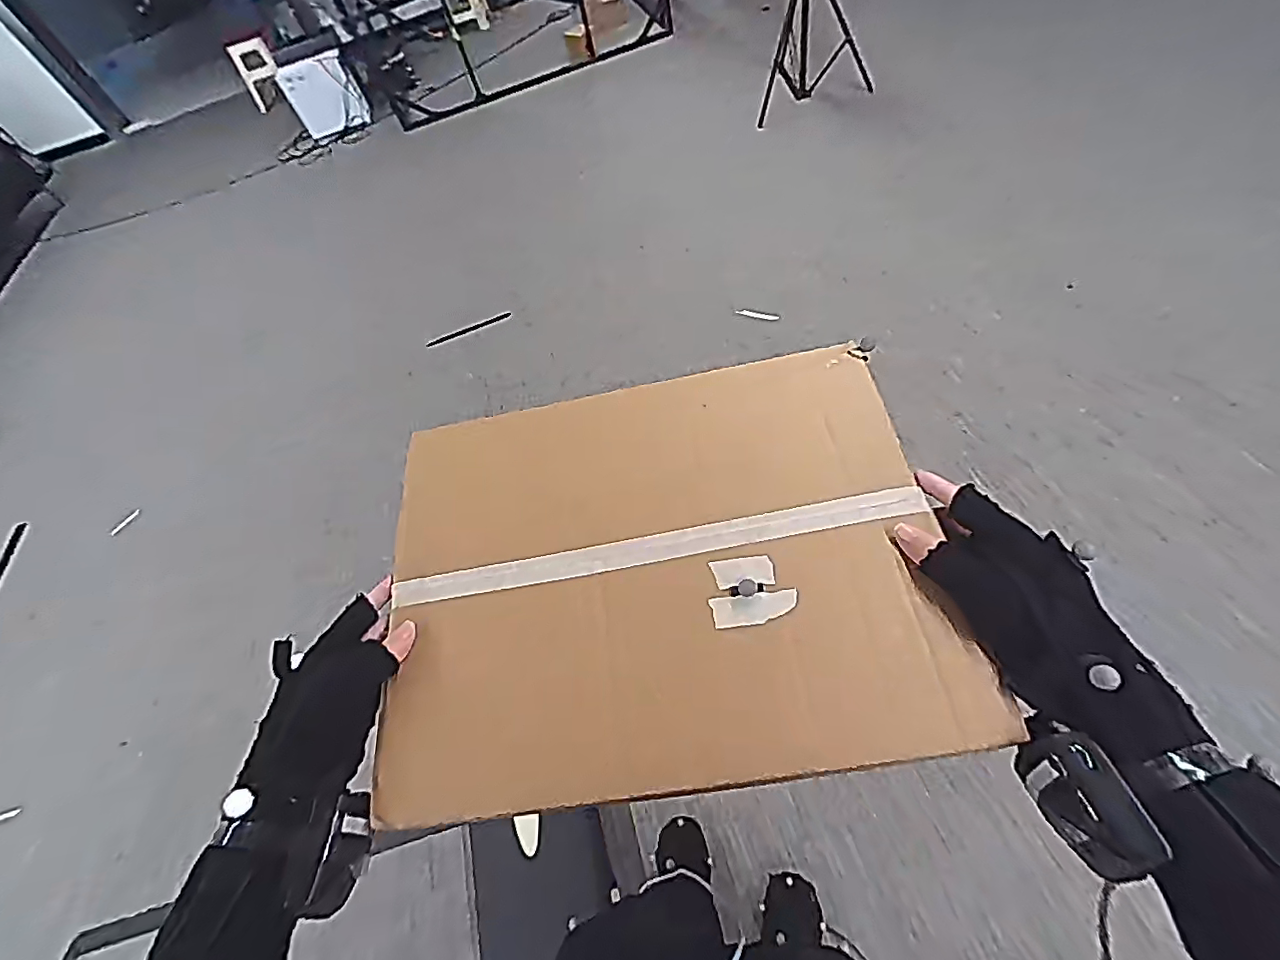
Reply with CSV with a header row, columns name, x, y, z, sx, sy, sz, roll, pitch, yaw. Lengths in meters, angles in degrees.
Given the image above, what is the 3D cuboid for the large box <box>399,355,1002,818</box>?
name,x,y,z,sx,sy,sz,roll,pitch,yaw
large box,0.035,0.128,0.548,0.408,0.320,0.320,-11,60,5
